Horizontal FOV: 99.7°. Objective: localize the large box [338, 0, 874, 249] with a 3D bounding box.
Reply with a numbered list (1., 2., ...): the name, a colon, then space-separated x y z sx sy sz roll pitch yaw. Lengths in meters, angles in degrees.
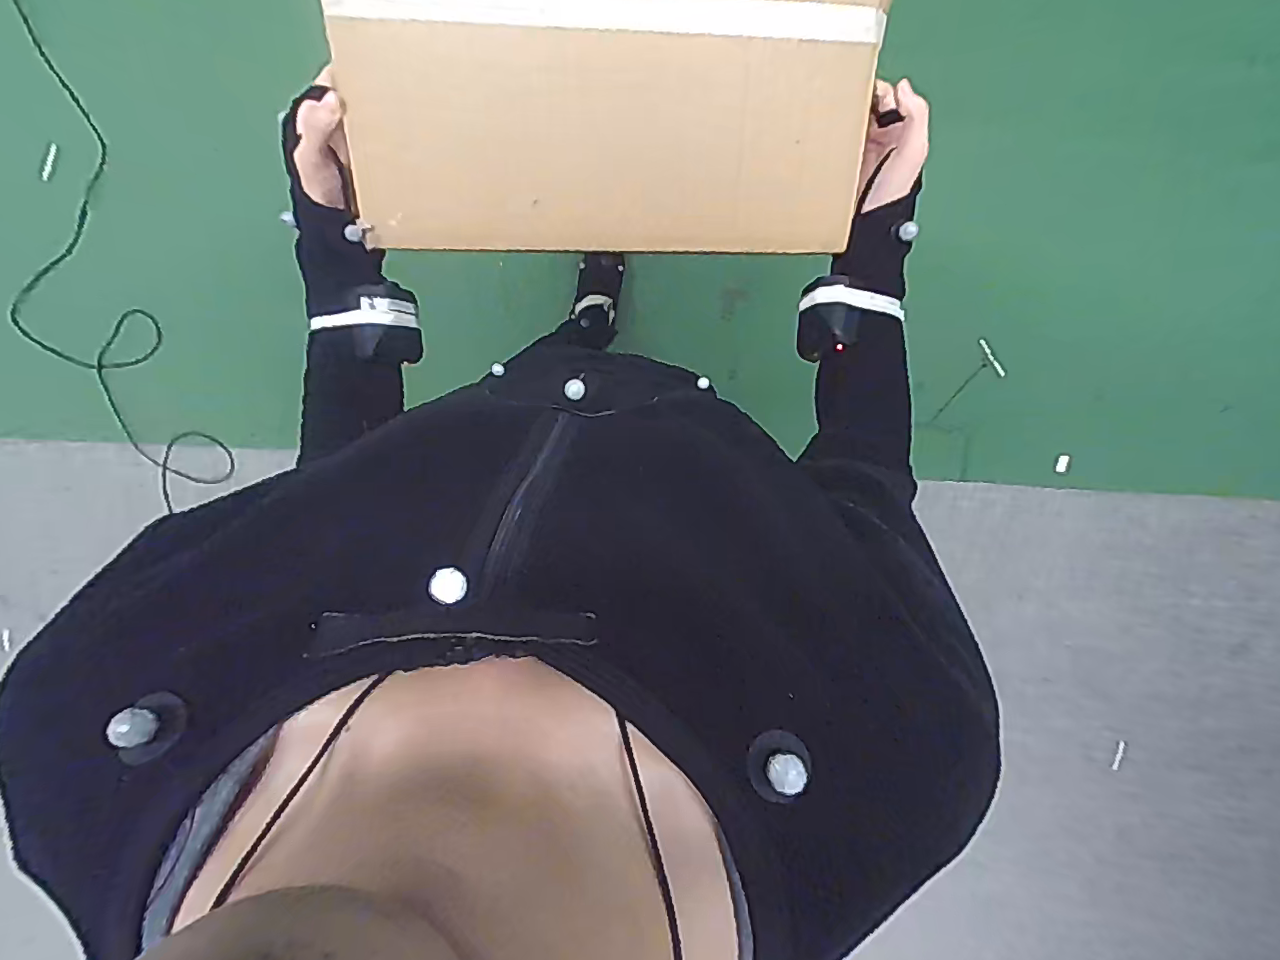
1. large box: -0.032 -0.406 0.537 0.408 0.320 0.320 -2 114 -5
